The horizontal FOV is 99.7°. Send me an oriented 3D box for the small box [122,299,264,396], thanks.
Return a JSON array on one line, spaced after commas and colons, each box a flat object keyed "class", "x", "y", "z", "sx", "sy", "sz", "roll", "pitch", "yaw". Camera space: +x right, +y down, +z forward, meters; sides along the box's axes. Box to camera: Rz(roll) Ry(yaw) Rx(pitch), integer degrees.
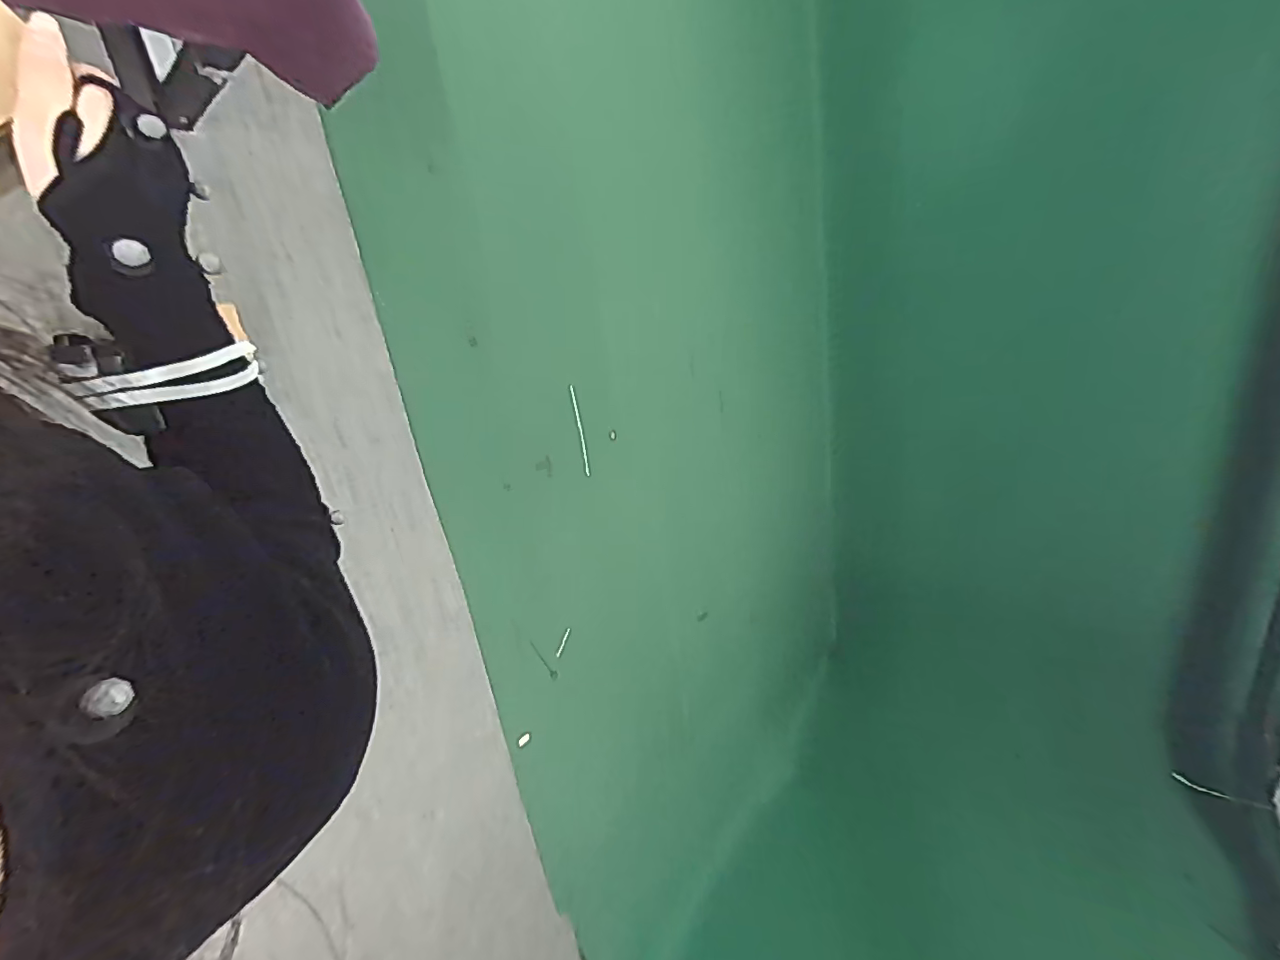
[{"class": "small box", "x": -0.939, "y": -0.274, "z": 1.132, "sx": 0.179, "sy": 0.176, "sz": 0.168, "roll": -32, "pitch": 120, "yaw": -44}]
